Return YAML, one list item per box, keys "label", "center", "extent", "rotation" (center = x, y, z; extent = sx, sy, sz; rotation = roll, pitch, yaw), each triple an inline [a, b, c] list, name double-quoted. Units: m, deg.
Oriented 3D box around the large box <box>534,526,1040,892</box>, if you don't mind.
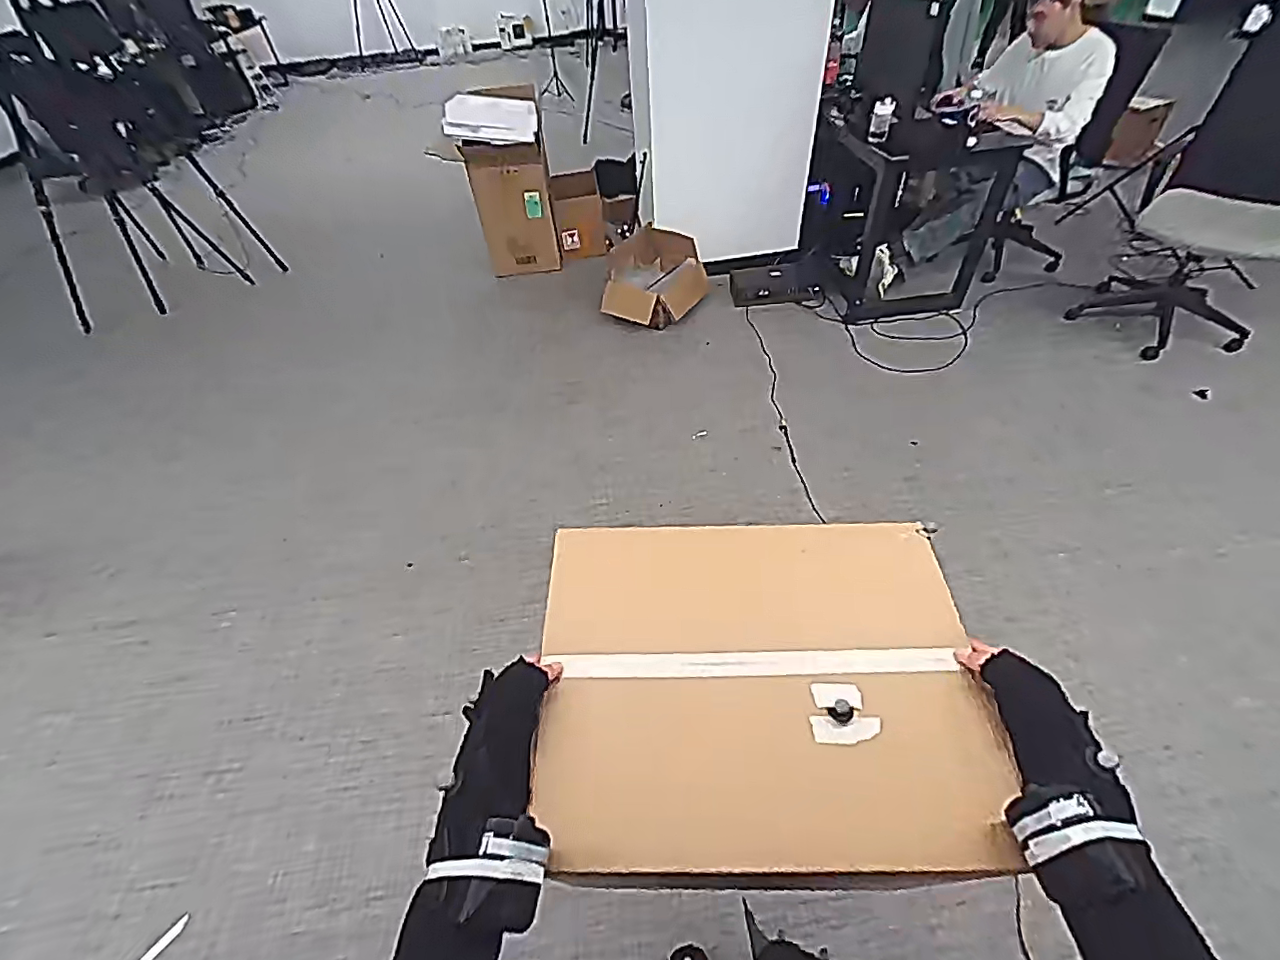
- label: "large box"
  center: [0.113, 0.270, 0.626]
  extent: [0.408, 0.320, 0.320]
  rotation: [-1, 51, 1]
